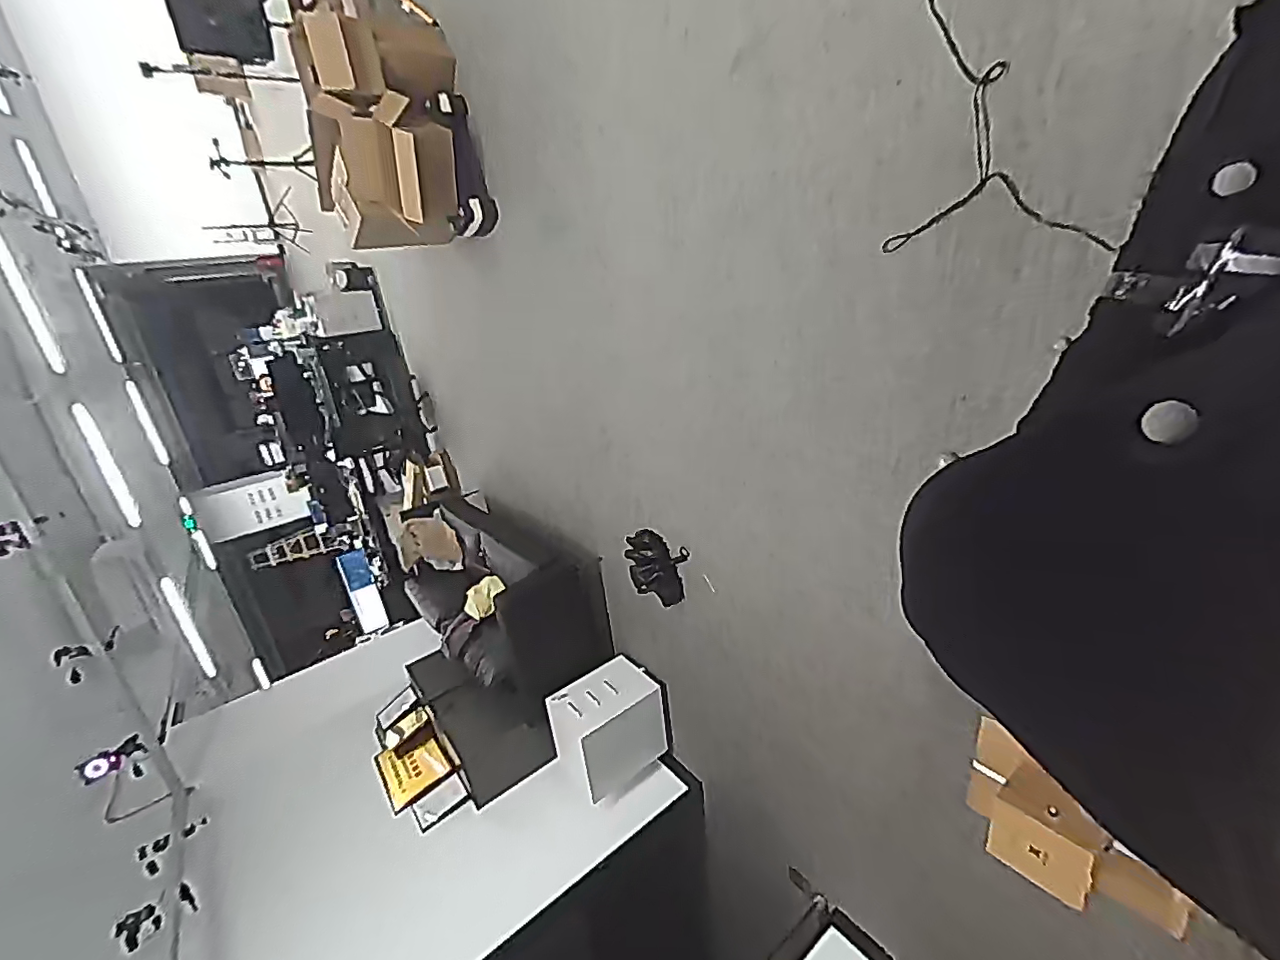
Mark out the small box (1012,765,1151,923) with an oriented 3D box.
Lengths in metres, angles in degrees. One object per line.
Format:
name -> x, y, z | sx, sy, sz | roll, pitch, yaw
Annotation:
small box -> 0.909, 0.734, 1.116 | 0.179, 0.176, 0.168 | 19, 122, 53
